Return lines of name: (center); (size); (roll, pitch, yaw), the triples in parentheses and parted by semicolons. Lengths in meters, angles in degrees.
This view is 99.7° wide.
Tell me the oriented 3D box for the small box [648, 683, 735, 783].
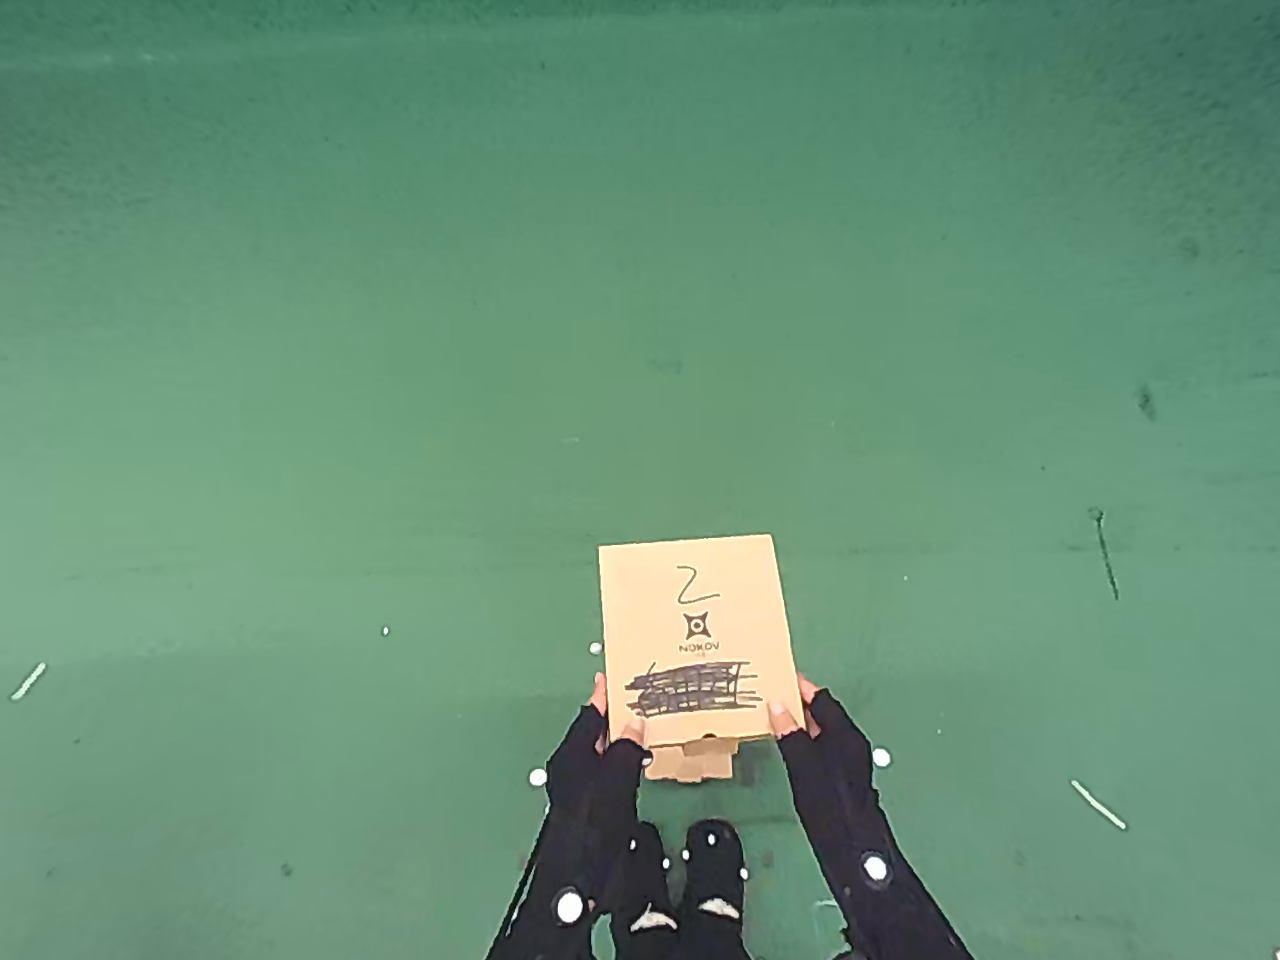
small box: (0.100, 0.523, 1.126); (0.168, 0.176, 0.179); (-2, 67, 2)
